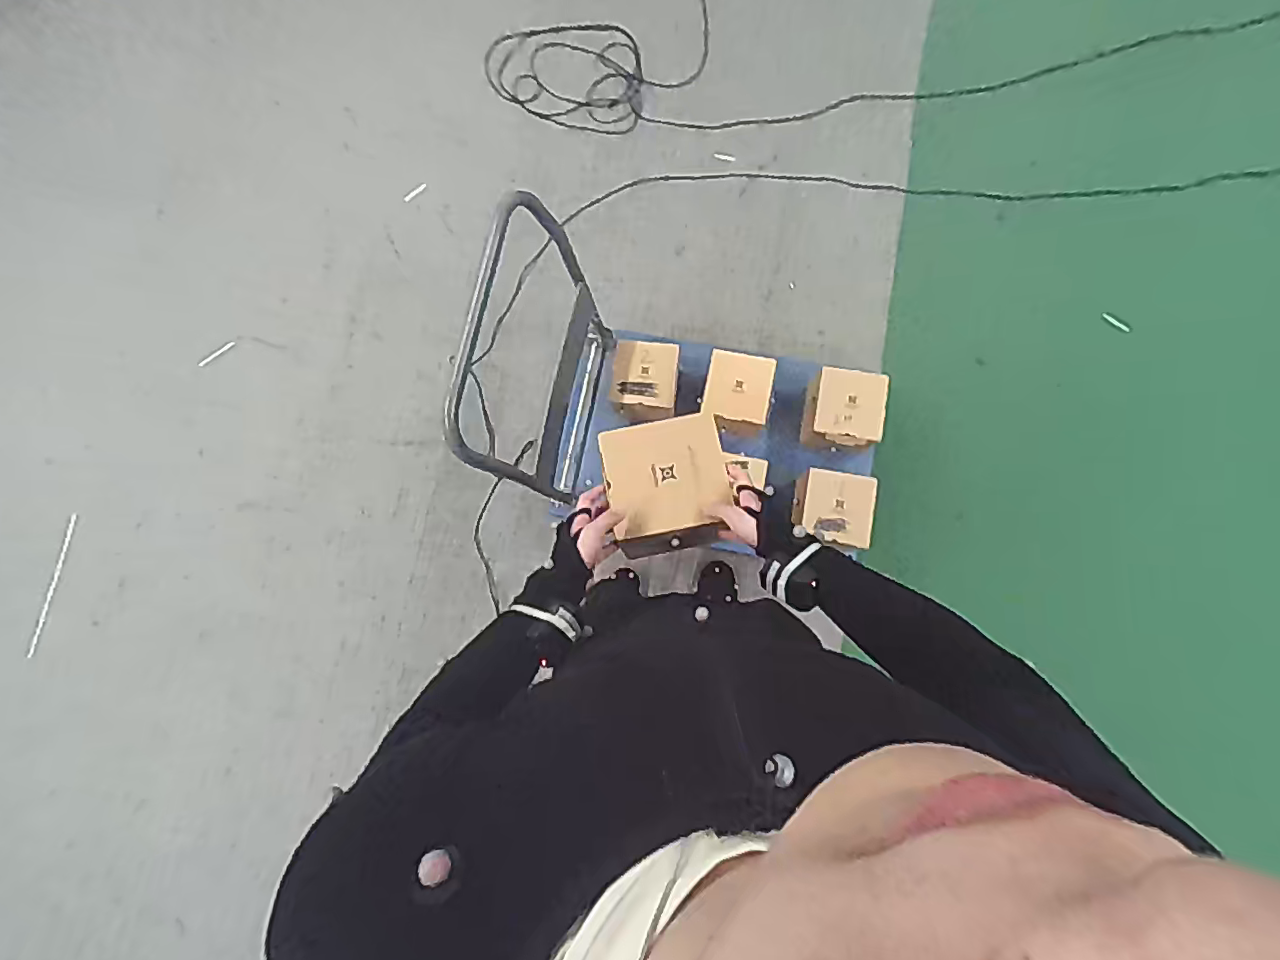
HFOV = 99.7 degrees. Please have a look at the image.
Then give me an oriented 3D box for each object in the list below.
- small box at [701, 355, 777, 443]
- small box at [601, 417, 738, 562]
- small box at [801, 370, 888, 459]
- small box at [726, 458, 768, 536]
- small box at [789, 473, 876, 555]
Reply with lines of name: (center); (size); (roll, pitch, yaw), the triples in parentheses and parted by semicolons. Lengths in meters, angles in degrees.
small box: (0.259, -0.214, 1.459); (0.168, 0.176, 0.179); (11, 83, 5)
small box: (0.046, 0.024, 0.842); (0.179, 0.176, 0.168); (-10, 71, 1)
small box: (0.534, -0.167, 1.428); (0.168, 0.176, 0.179); (10, 81, 7)
small box: (0.227, 0.045, 1.415); (0.168, 0.176, 0.179); (12, 82, 5)
small box: (0.491, 0.095, 1.405); (0.168, 0.176, 0.179); (10, 81, 5)
